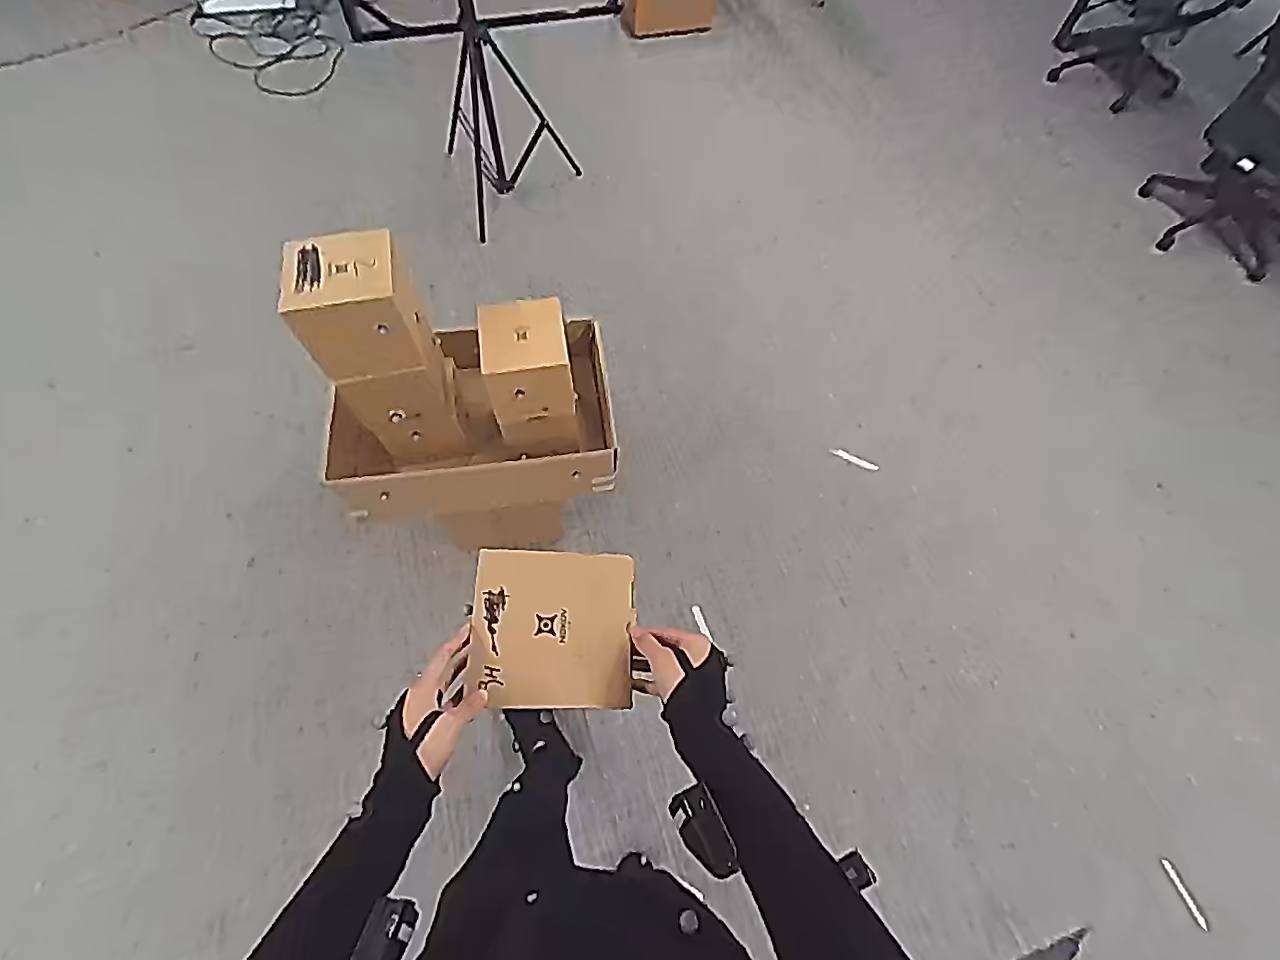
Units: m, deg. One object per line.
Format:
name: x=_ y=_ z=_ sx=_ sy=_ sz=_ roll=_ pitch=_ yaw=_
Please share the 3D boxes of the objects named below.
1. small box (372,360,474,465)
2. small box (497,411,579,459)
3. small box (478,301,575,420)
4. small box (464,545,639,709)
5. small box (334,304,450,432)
small box: x=-0.492 y=-0.148 z=1.241 sx=0.179 sy=0.176 sz=0.168 roll=-9 pitch=64 yaw=-8
small box: x=-0.237 y=-0.162 z=1.261 sx=0.168 sy=0.176 sz=0.179 roll=-9 pitch=63 yaw=-7
small box: x=-0.230 y=-0.238 z=1.117 sx=0.168 sy=0.176 sz=0.179 roll=-9 pitch=63 yaw=-7
small box: x=-0.104 y=0.185 z=0.658 sx=0.179 sy=0.176 sz=0.168 roll=5 pitch=67 yaw=-9
small box: x=-0.495 y=-0.223 z=1.095 sx=0.168 sy=0.176 sz=0.179 roll=-12 pitch=64 yaw=-7
